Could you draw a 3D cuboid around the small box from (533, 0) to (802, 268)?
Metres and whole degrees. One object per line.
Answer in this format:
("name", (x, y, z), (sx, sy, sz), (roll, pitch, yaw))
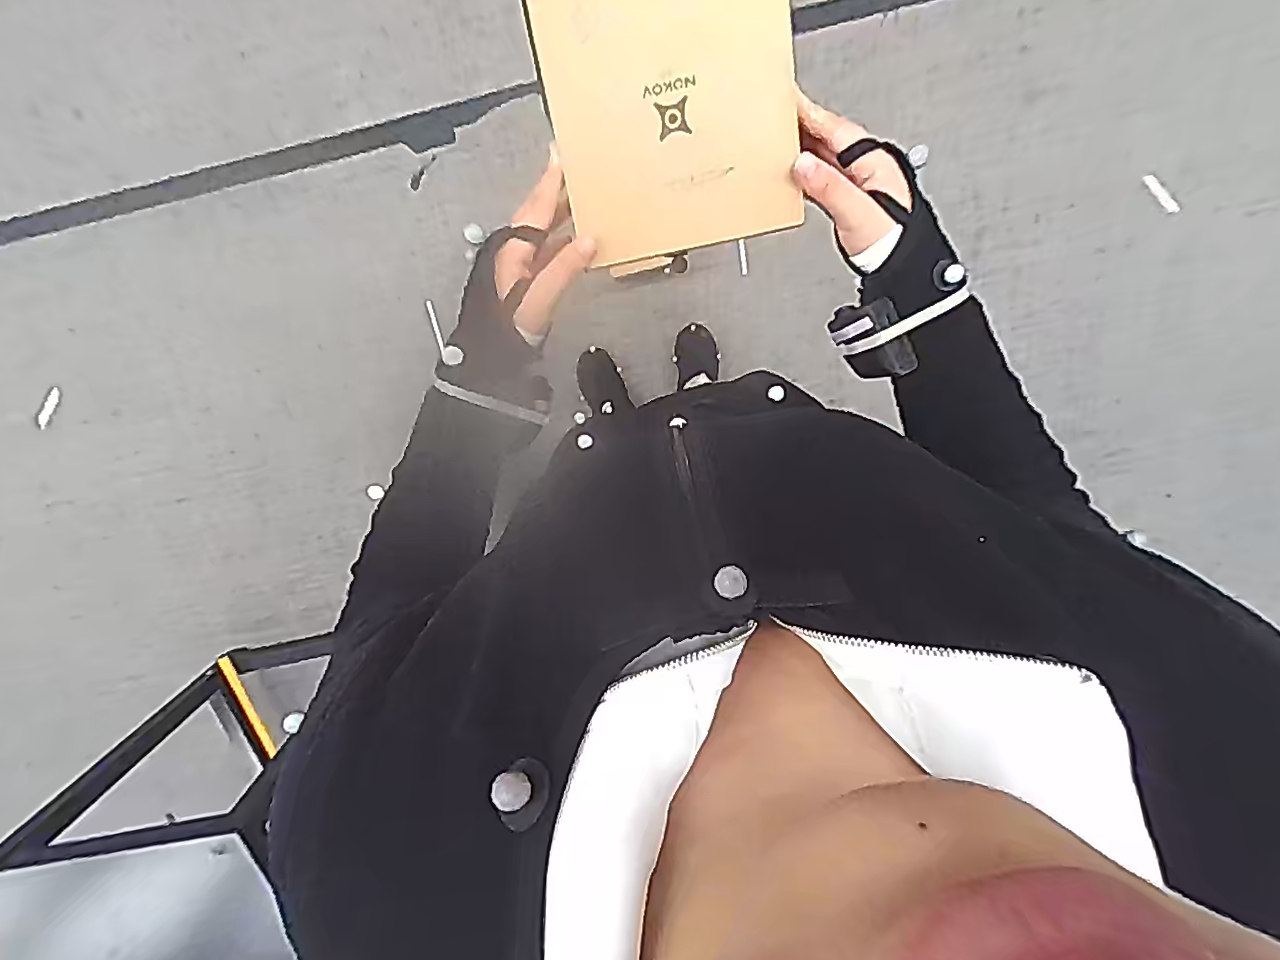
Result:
("small box", (0.029, -0.282, 0.445), (0.168, 0.176, 0.179), (-9, 113, 8))

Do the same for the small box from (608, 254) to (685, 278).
("small box", (-0.002, -0.574, 1.258), (0.179, 0.176, 0.168), (-12, 108, 3))
